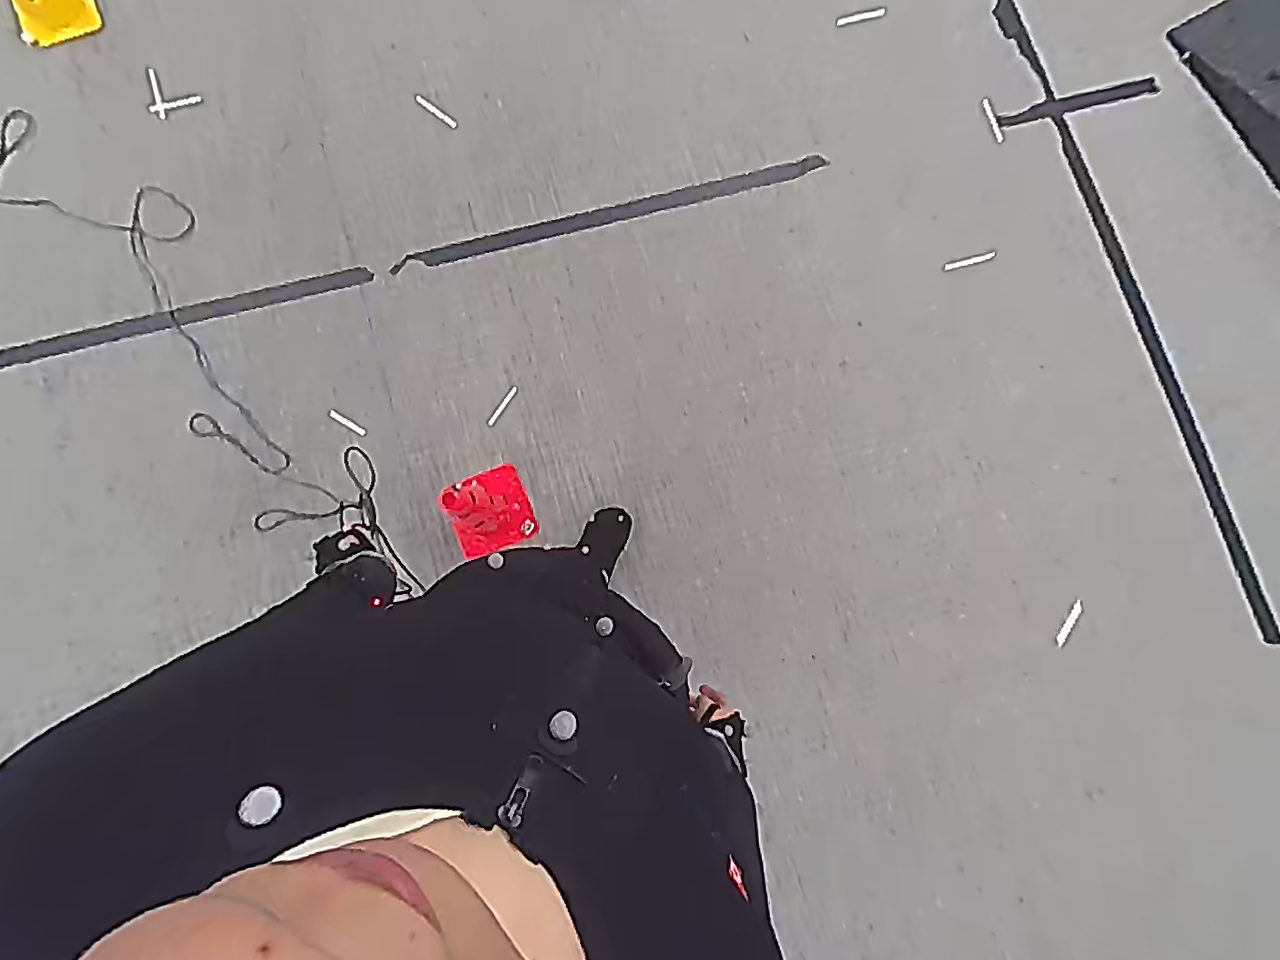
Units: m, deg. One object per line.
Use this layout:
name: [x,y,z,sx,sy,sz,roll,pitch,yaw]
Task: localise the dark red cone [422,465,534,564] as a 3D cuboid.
dark red cone: [-0.375,0.062,1.163,0.202,0.394,0.201,-24,84,-5]
